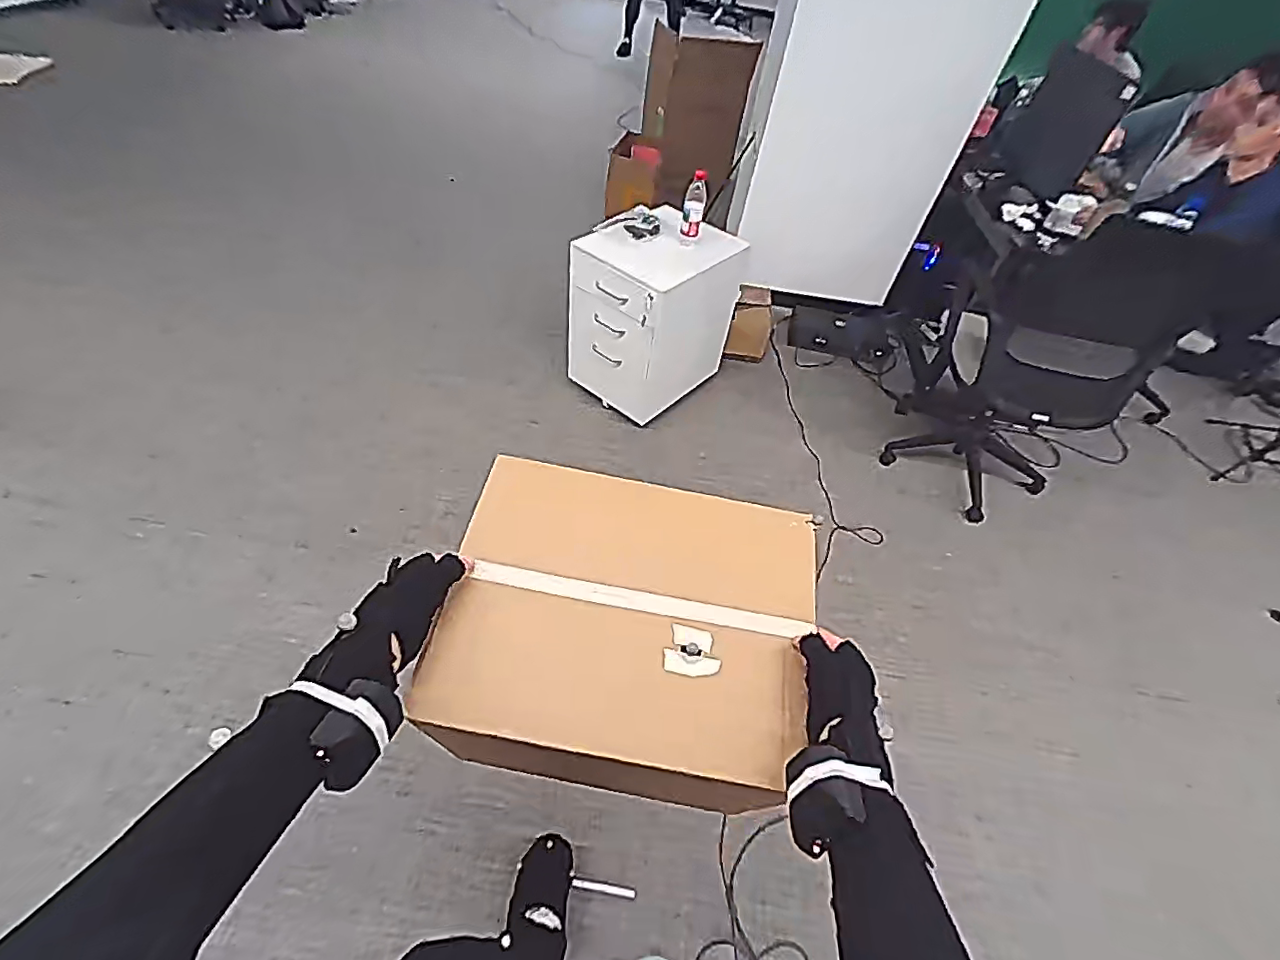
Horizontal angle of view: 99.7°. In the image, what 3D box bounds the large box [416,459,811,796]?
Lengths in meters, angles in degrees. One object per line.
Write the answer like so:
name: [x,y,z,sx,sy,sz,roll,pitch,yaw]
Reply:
large box: [-0.024,0.212,0.734,0.408,0.320,0.320,11,56,0]
